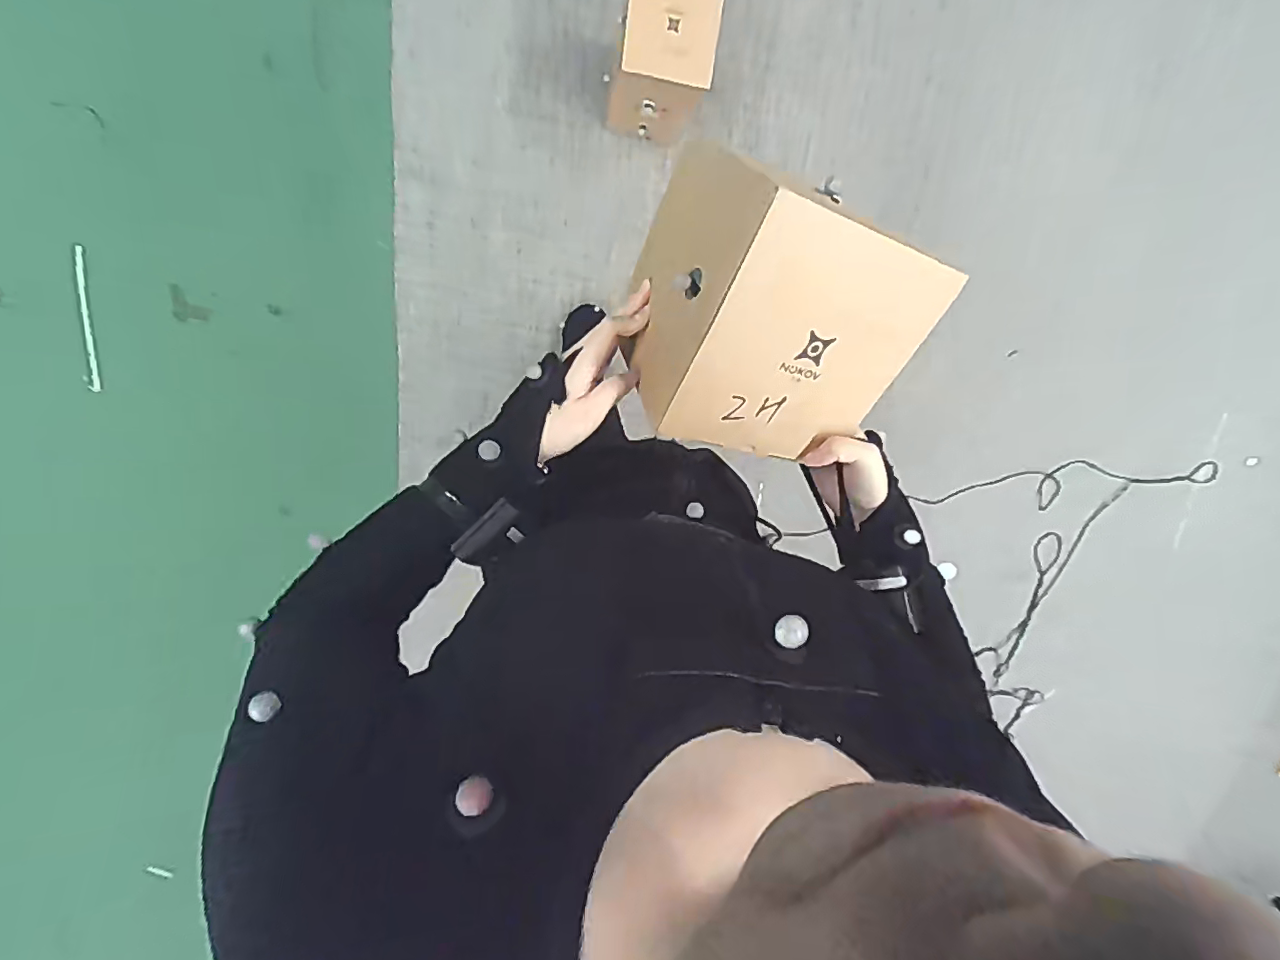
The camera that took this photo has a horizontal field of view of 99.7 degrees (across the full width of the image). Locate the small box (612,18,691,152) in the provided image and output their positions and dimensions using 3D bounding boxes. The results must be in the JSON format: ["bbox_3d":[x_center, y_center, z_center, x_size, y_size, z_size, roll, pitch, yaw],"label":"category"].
[{"bbox_3d":[0.035,-0.843,1.171,0.168,0.176,0.179,9,105,-10],"label":"small box"}]

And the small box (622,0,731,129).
[{"bbox_3d":[0.060,-0.798,1.016,0.168,0.176,0.179,6,105,-8],"label":"small box"}]
